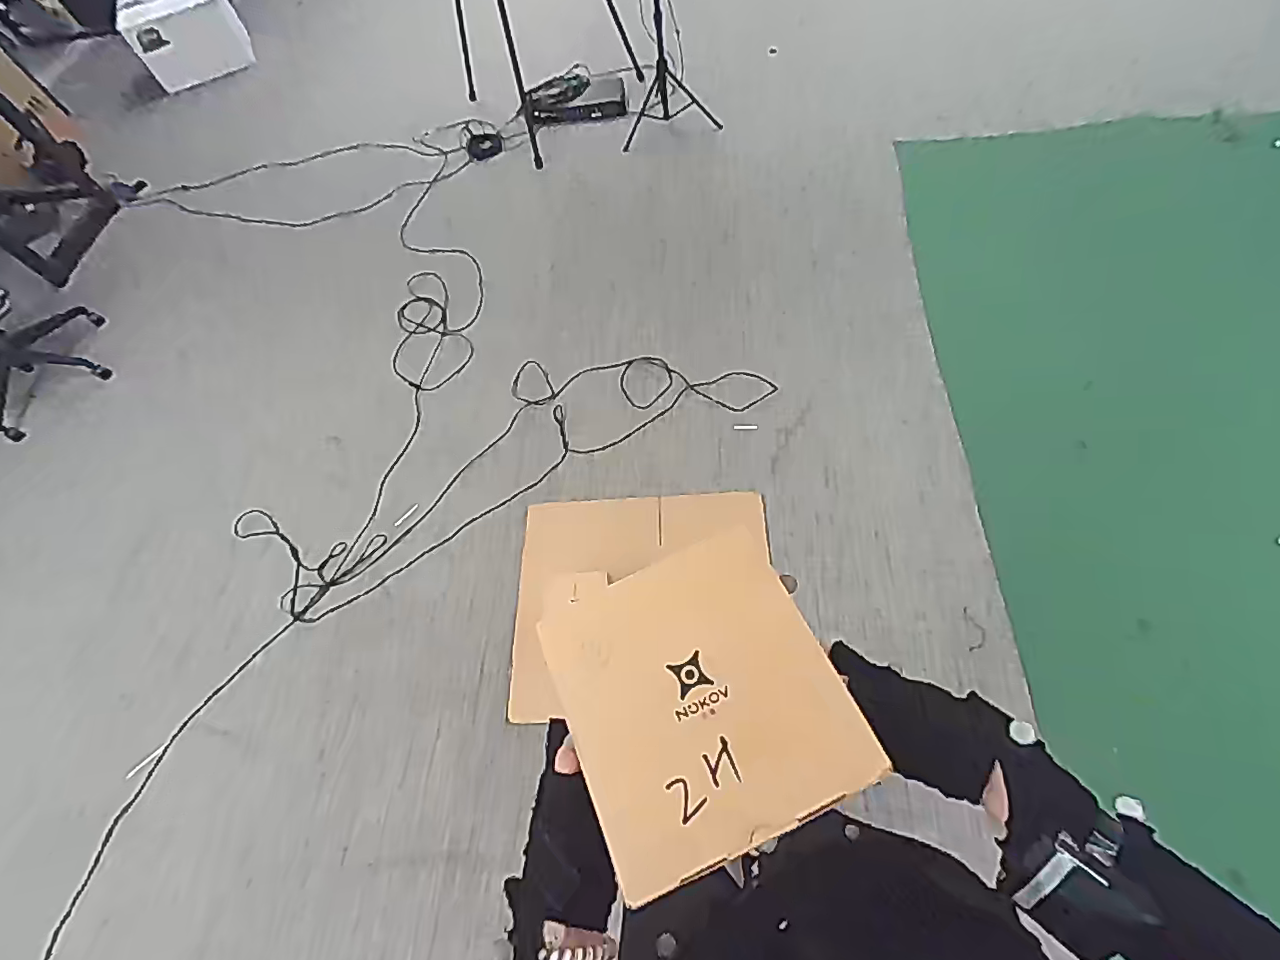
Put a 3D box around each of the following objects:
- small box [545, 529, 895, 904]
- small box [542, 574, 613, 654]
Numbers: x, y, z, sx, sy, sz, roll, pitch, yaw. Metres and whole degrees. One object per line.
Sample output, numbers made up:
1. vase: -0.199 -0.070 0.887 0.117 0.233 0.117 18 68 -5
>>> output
1. small box: 0.051 0.171 0.408 0.168 0.176 0.179 -25 60 -2
2. small box: -0.142 0.353 1.372 0.168 0.176 0.179 -5 61 6
